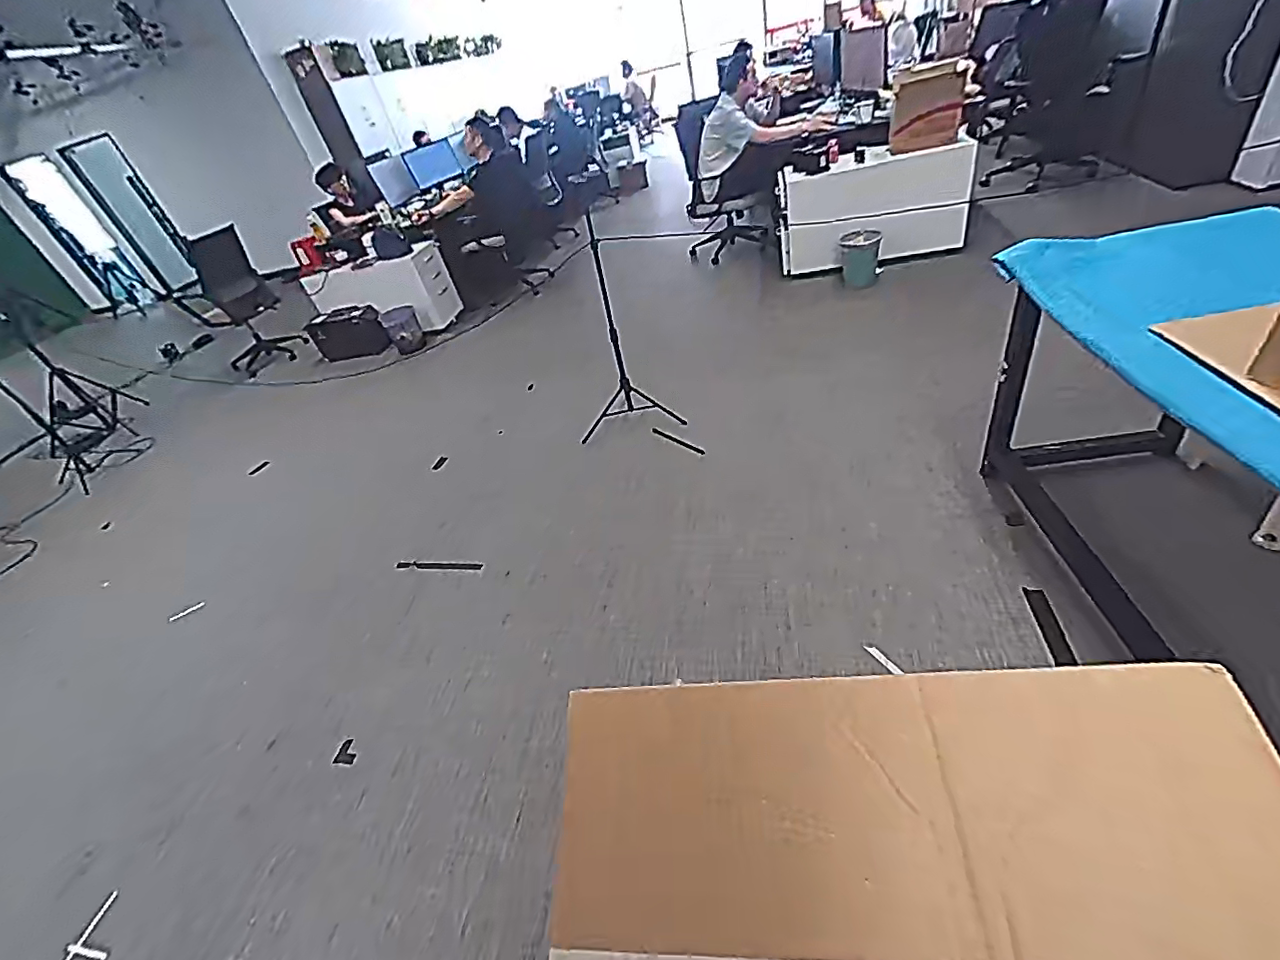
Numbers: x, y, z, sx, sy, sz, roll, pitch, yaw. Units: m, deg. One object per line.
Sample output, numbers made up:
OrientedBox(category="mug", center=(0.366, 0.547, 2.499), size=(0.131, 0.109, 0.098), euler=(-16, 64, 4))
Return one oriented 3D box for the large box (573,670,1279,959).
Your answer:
OrientedBox(category="large box", center=(0.185, 0.349, 0.409), size=(0.408, 0.320, 0.320), euler=(-8, 58, 13))
